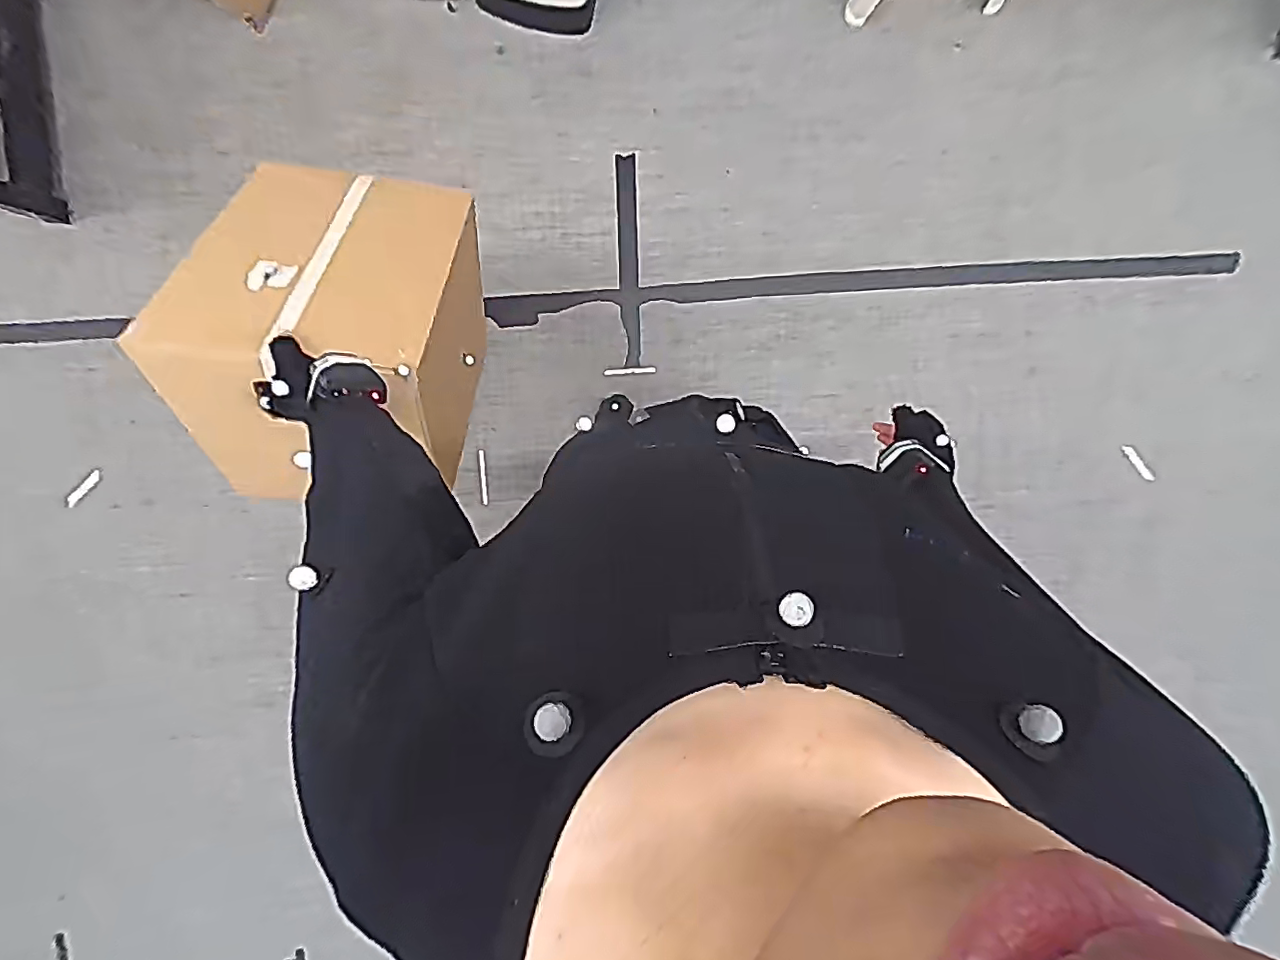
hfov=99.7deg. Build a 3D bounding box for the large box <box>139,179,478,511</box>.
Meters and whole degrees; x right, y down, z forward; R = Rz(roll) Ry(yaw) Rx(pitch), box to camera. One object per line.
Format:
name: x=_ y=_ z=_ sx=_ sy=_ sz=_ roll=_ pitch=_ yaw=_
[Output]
large box: x=-0.447 y=-0.205 z=0.860 sx=0.320 sy=0.320 sz=0.408 roll=4 pitch=55 yaw=-7
